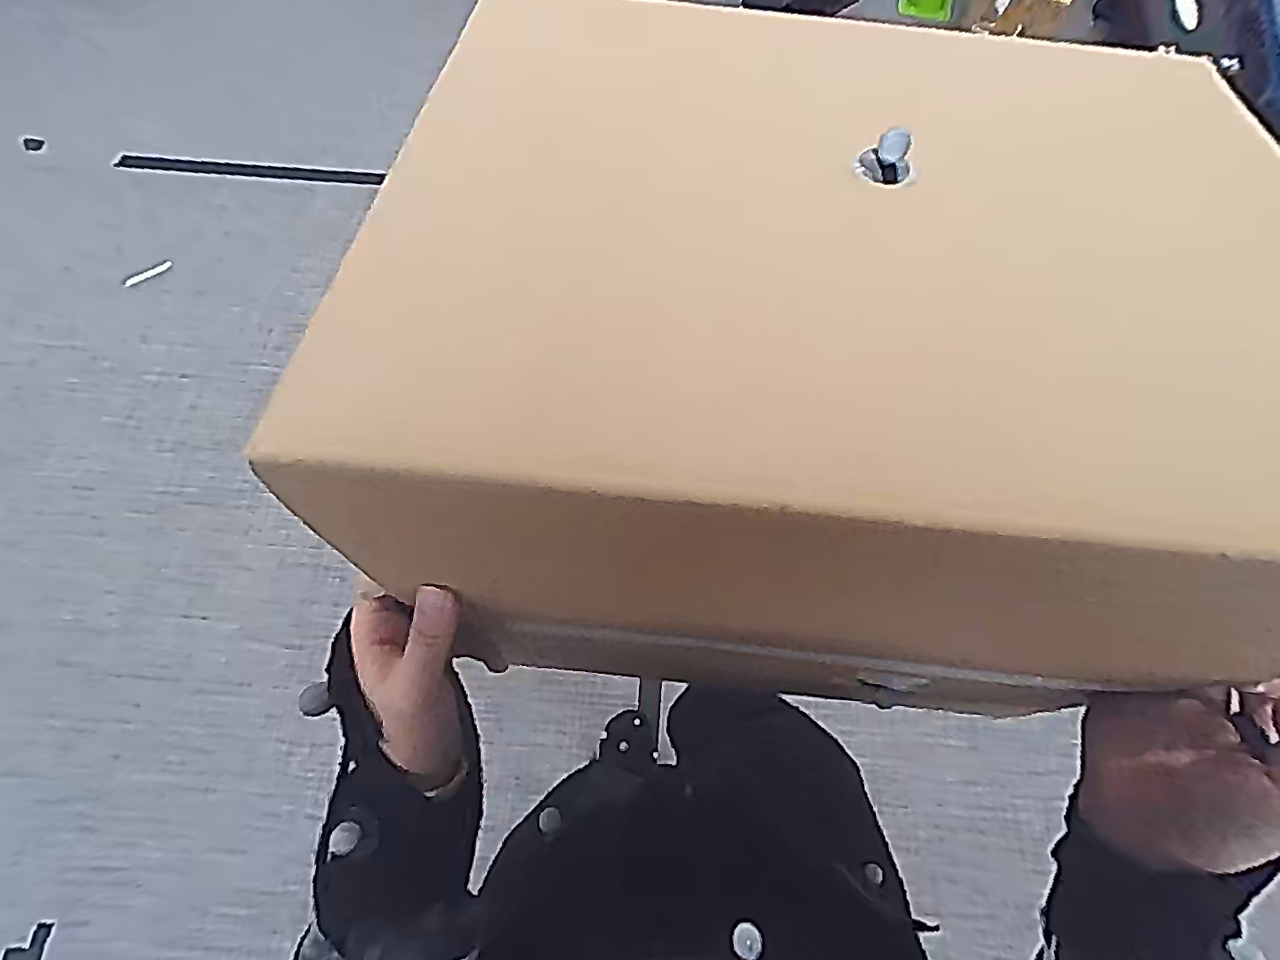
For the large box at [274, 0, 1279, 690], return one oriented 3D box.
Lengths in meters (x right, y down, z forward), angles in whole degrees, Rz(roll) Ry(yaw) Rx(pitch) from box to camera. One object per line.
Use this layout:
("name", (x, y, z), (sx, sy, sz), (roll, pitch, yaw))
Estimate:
("large box", (0.091, -0.059, 0.358), (0.408, 0.320, 0.320), (5, 63, 1))
